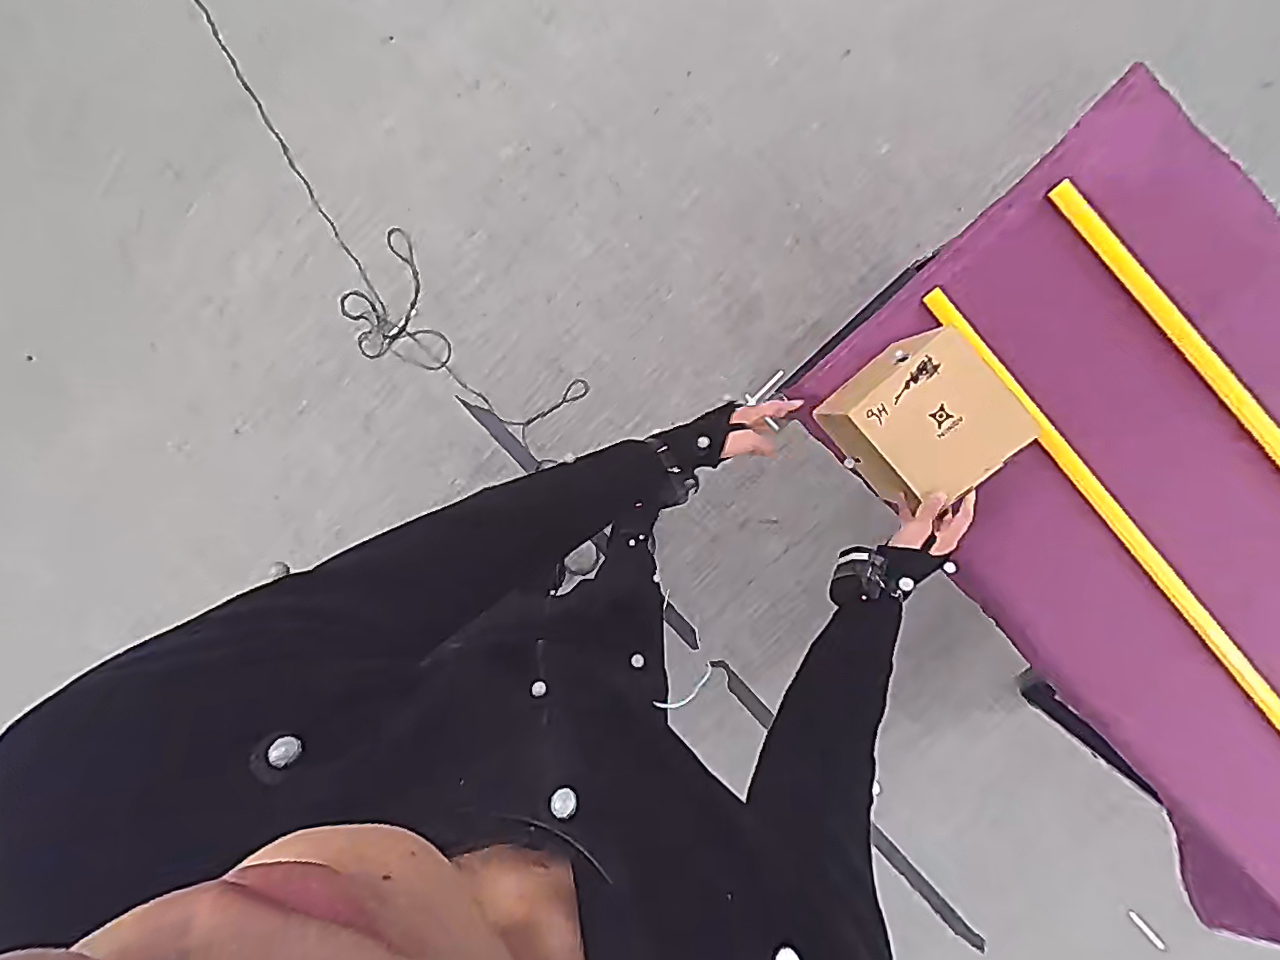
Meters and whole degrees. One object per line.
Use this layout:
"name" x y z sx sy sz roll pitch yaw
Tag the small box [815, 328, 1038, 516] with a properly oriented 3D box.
"small box" 0.373 -0.080 0.738 0.168 0.176 0.179 -41 94 7
